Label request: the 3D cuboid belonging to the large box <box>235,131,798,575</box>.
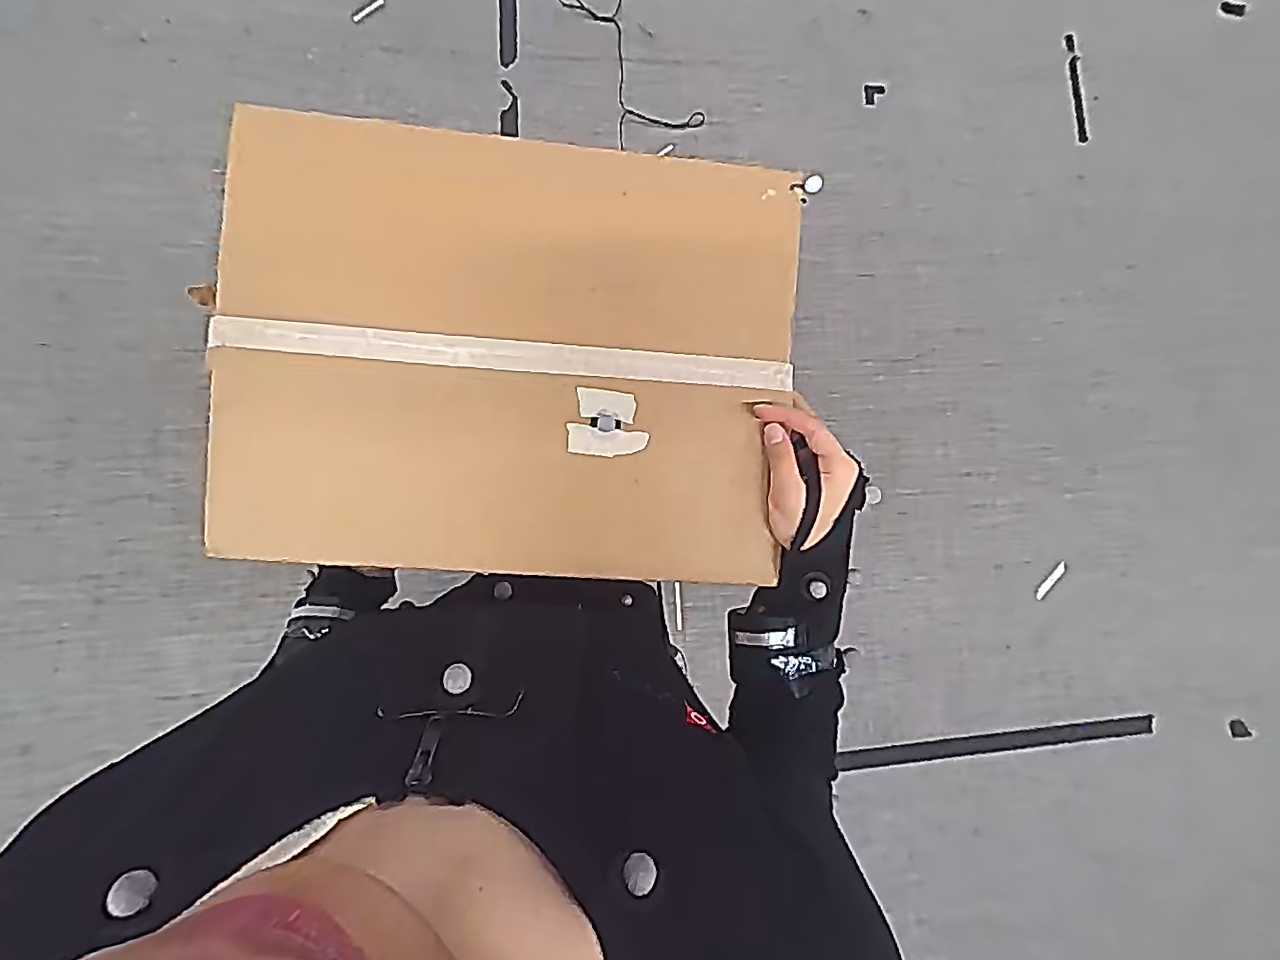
[{"bbox_3d":[-0.097,-0.086,0.547,0.408,0.320,0.320,3,90,-6],"label":"large box"}]
